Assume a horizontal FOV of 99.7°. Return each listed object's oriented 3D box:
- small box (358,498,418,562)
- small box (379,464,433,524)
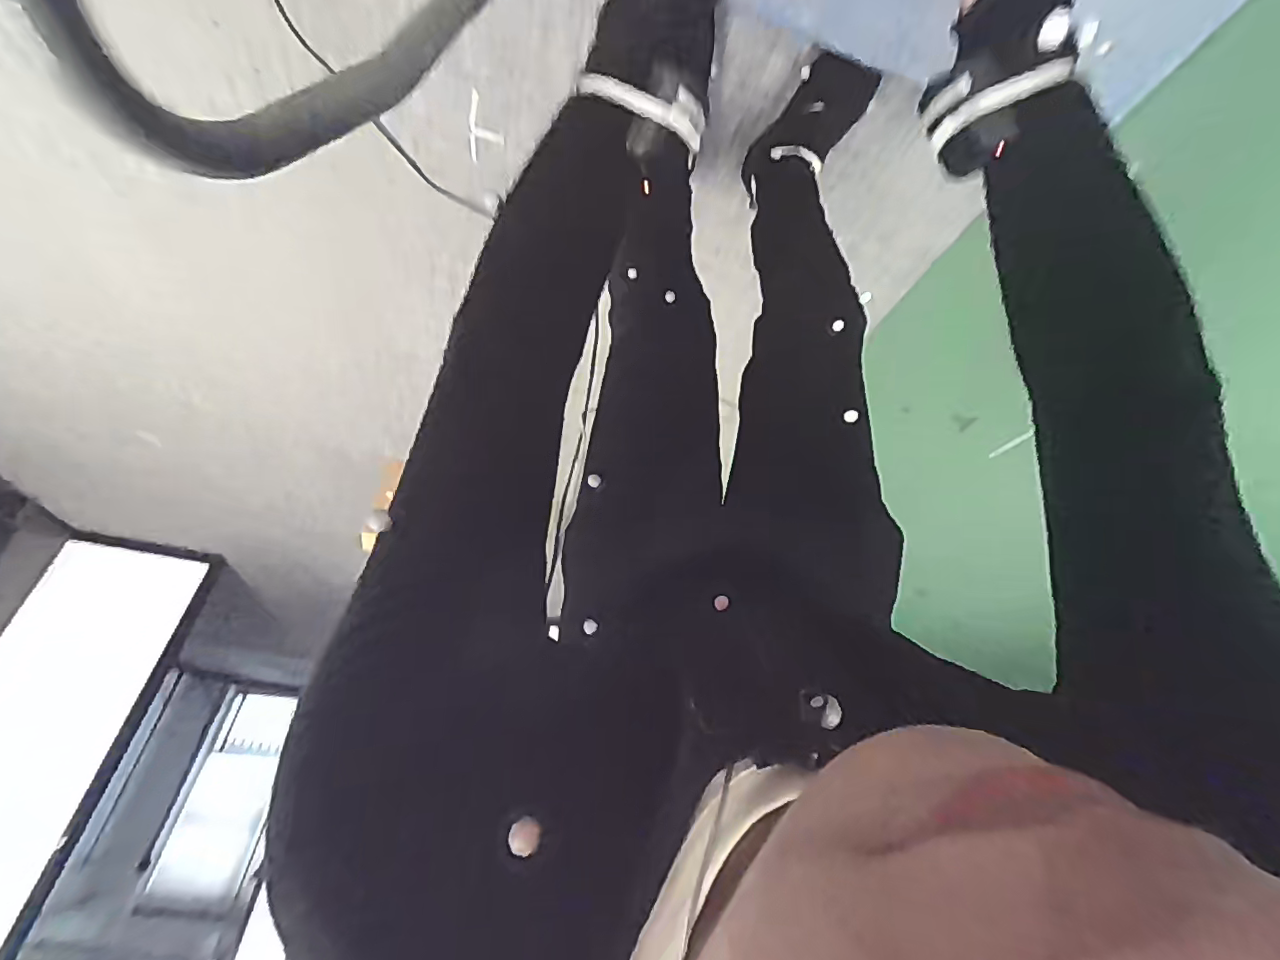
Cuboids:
[{"bbox_3d":[-0.979,0.196,2.107,0.168,0.176,0.179,18,146,-16],"label":"small box"},{"bbox_3d":[-0.955,0.061,2.191,0.168,0.176,0.179,19,145,-22],"label":"small box"}]
